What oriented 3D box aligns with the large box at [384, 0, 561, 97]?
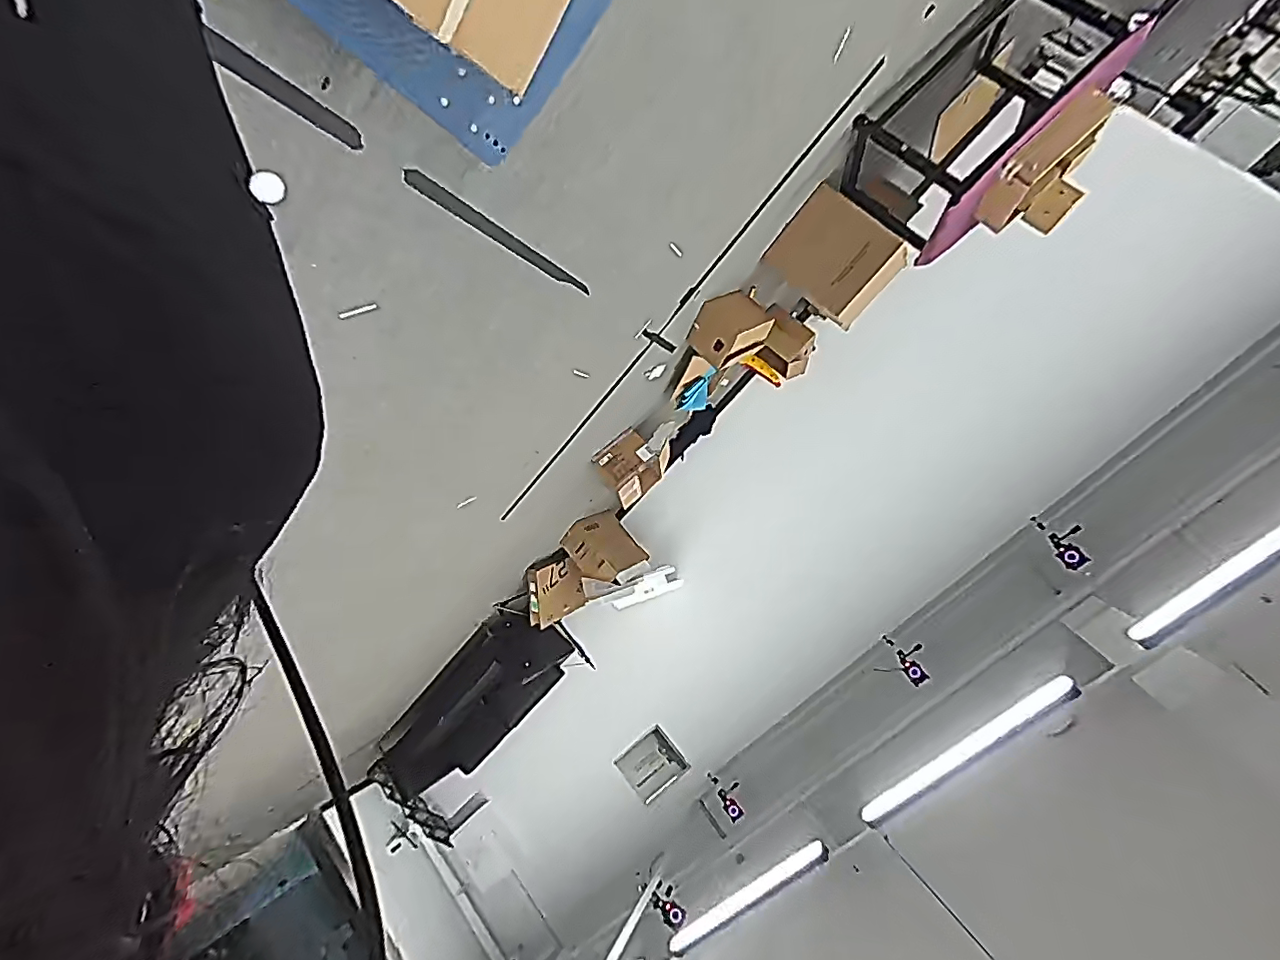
[{"bbox_3d":[-0.282,-0.928,0.822,0.320,0.320,0.408,6,130,-53],"label":"large box"}]
